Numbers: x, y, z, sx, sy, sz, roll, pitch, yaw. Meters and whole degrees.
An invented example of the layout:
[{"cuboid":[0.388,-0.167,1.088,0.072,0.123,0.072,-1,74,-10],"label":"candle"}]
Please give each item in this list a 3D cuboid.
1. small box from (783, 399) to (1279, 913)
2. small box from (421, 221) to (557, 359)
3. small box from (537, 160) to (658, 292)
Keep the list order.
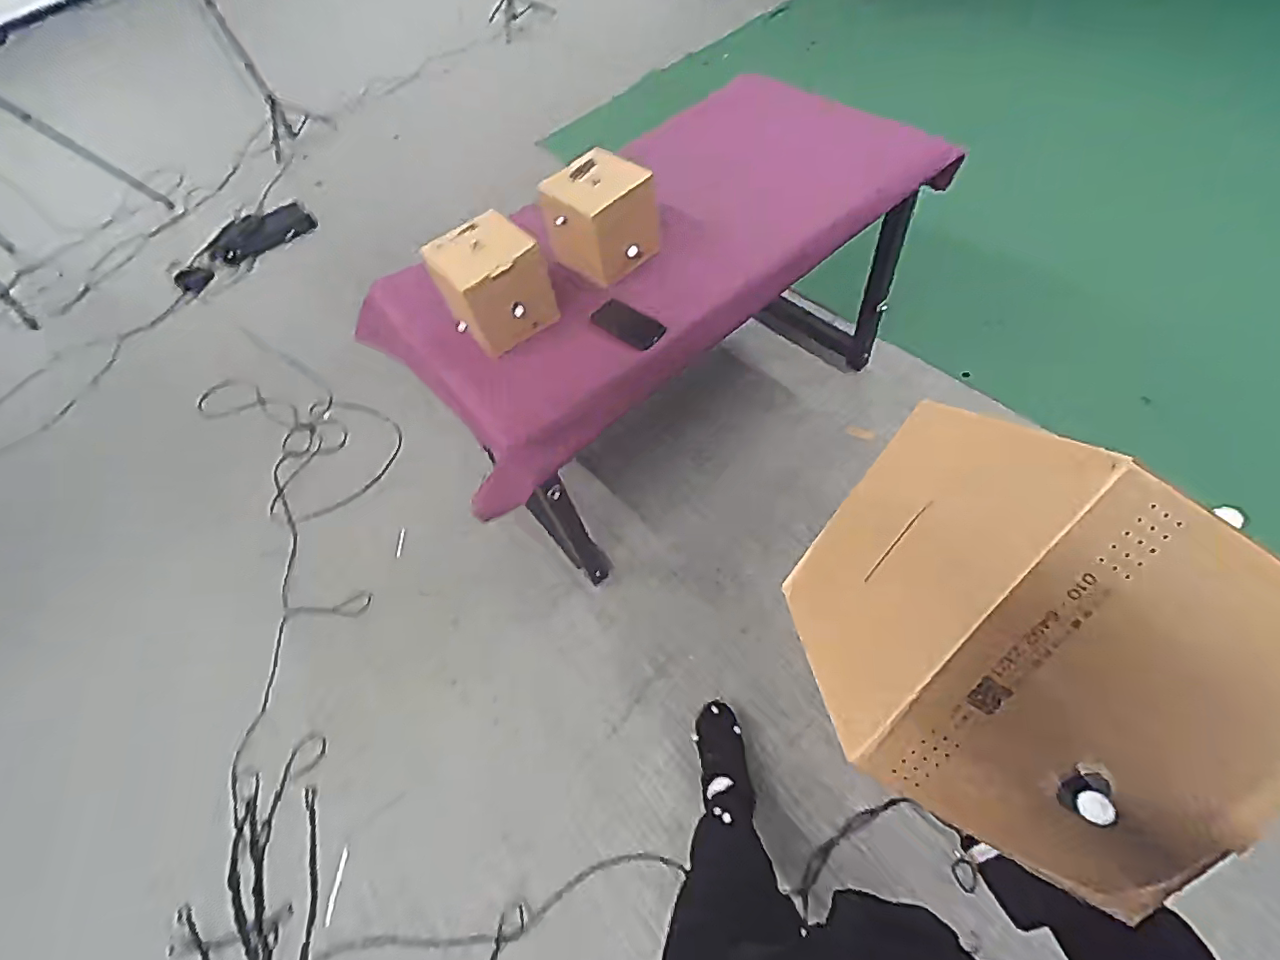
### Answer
[{"cuboid":[0.203,0.071,0.305,0.176,0.179,0.168,33,105,-4],"label":"small box"},{"cuboid":[-0.288,-0.365,1.064,0.168,0.176,0.179,-37,60,-14],"label":"small box"},{"cuboid":[-0.083,-0.525,1.130,0.168,0.176,0.179,-42,61,-16],"label":"small box"}]
